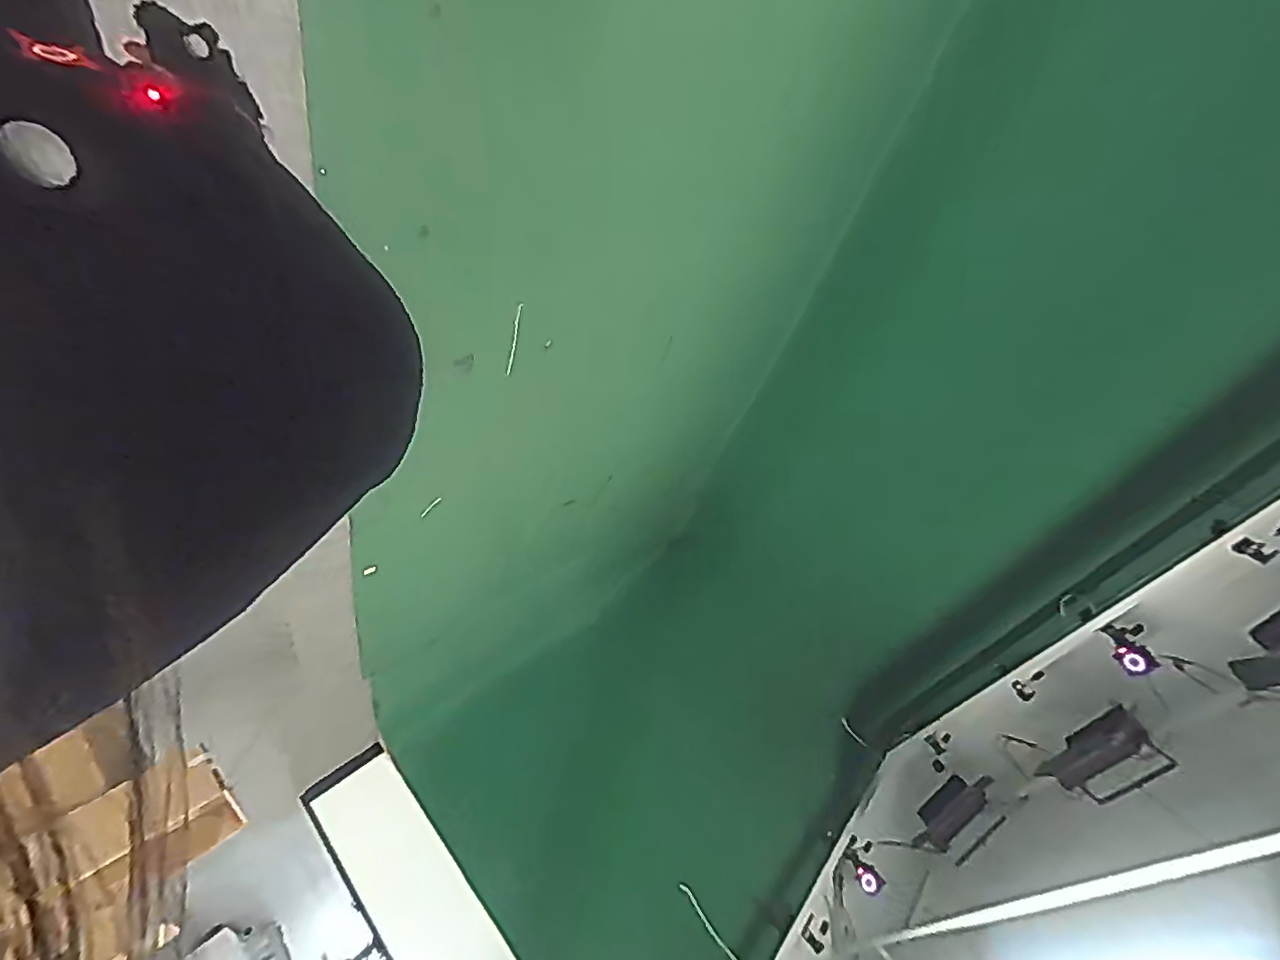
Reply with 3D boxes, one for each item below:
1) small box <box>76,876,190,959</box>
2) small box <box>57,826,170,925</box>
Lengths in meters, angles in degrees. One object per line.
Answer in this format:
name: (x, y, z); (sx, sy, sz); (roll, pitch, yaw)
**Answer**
small box: (-1.397, 1.243, 1.496); (0.168, 0.176, 0.179); (-31, 152, -40)
small box: (-1.509, 1.139, 1.555); (0.168, 0.176, 0.179); (-31, 152, -38)
